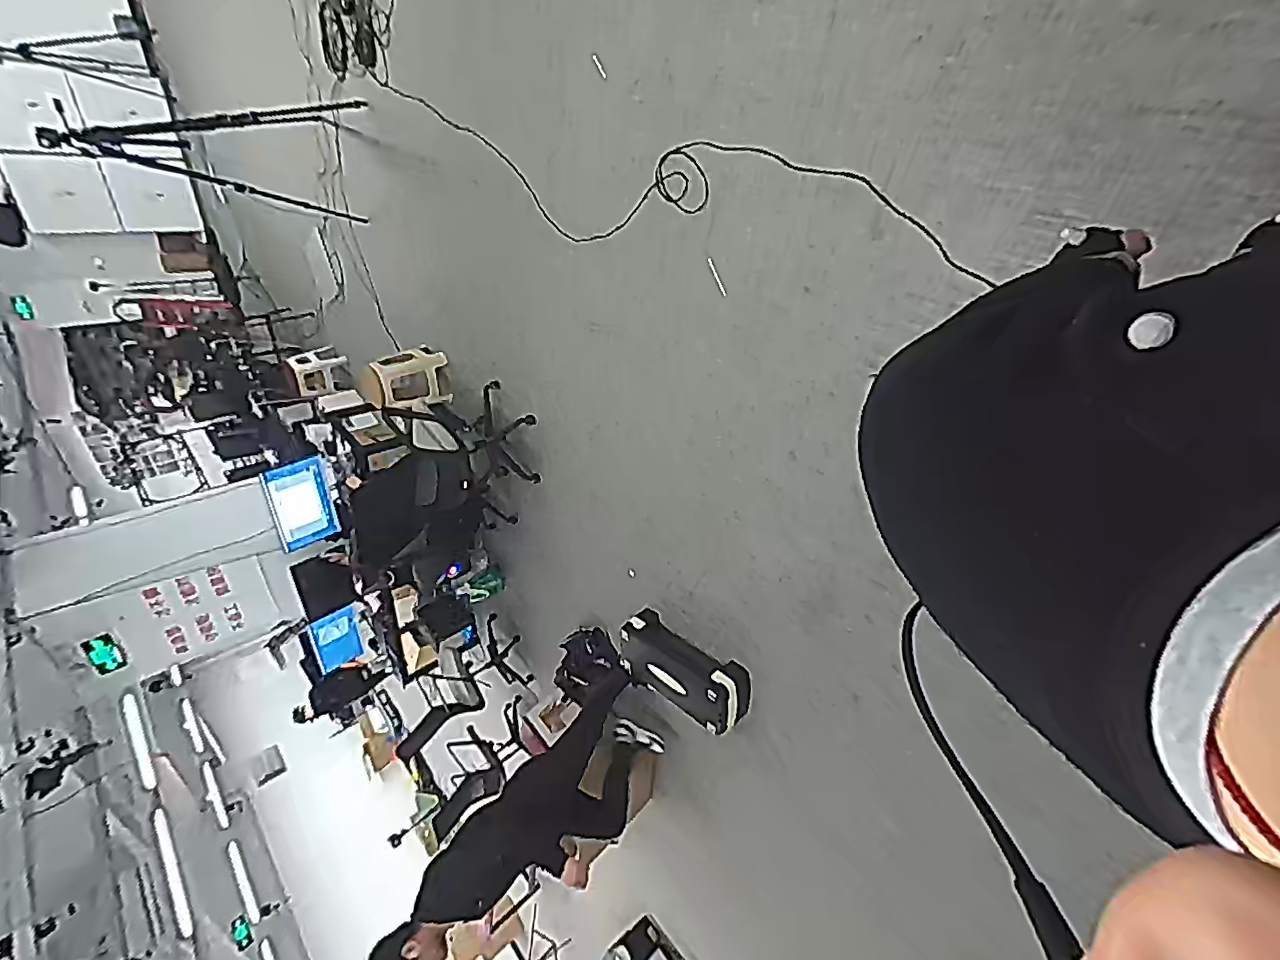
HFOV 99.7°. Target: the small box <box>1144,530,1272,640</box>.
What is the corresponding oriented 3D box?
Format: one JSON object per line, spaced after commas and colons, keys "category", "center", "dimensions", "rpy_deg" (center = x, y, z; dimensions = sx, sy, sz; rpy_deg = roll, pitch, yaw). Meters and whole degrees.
{"category": "small box", "center": [1.204, 0.212, 1.147], "dimensions": [0.168, 0.176, 0.179], "rpy_deg": [-9, 103, 51]}
